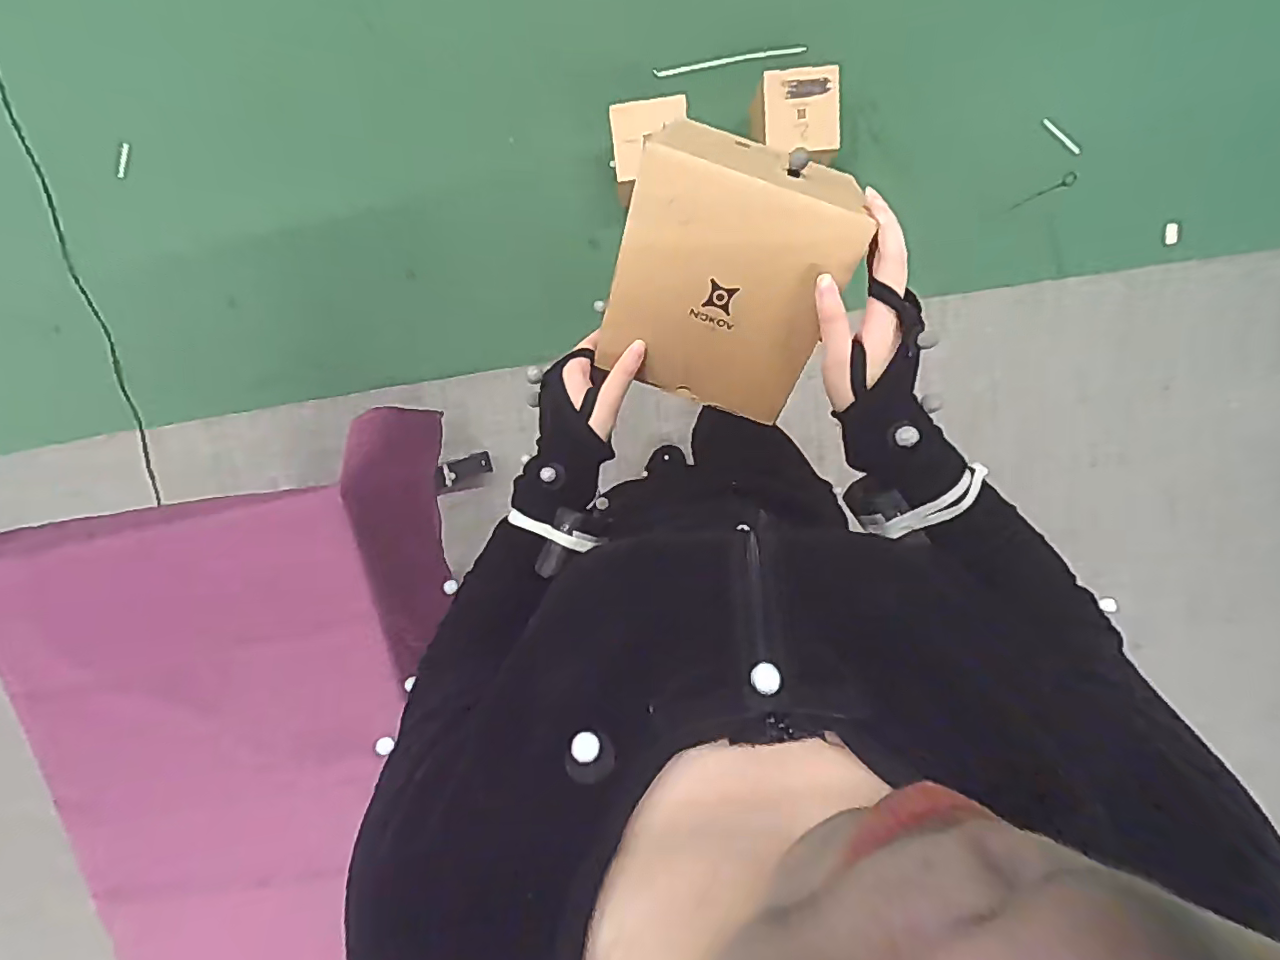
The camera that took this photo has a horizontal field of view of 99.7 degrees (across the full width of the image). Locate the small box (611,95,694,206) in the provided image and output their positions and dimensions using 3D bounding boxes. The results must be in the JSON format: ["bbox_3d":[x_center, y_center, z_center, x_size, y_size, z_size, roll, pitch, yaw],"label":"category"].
[{"bbox_3d":[0.032,-0.780,1.295,0.179,0.176,0.168,-6,98,4],"label":"small box"}]
